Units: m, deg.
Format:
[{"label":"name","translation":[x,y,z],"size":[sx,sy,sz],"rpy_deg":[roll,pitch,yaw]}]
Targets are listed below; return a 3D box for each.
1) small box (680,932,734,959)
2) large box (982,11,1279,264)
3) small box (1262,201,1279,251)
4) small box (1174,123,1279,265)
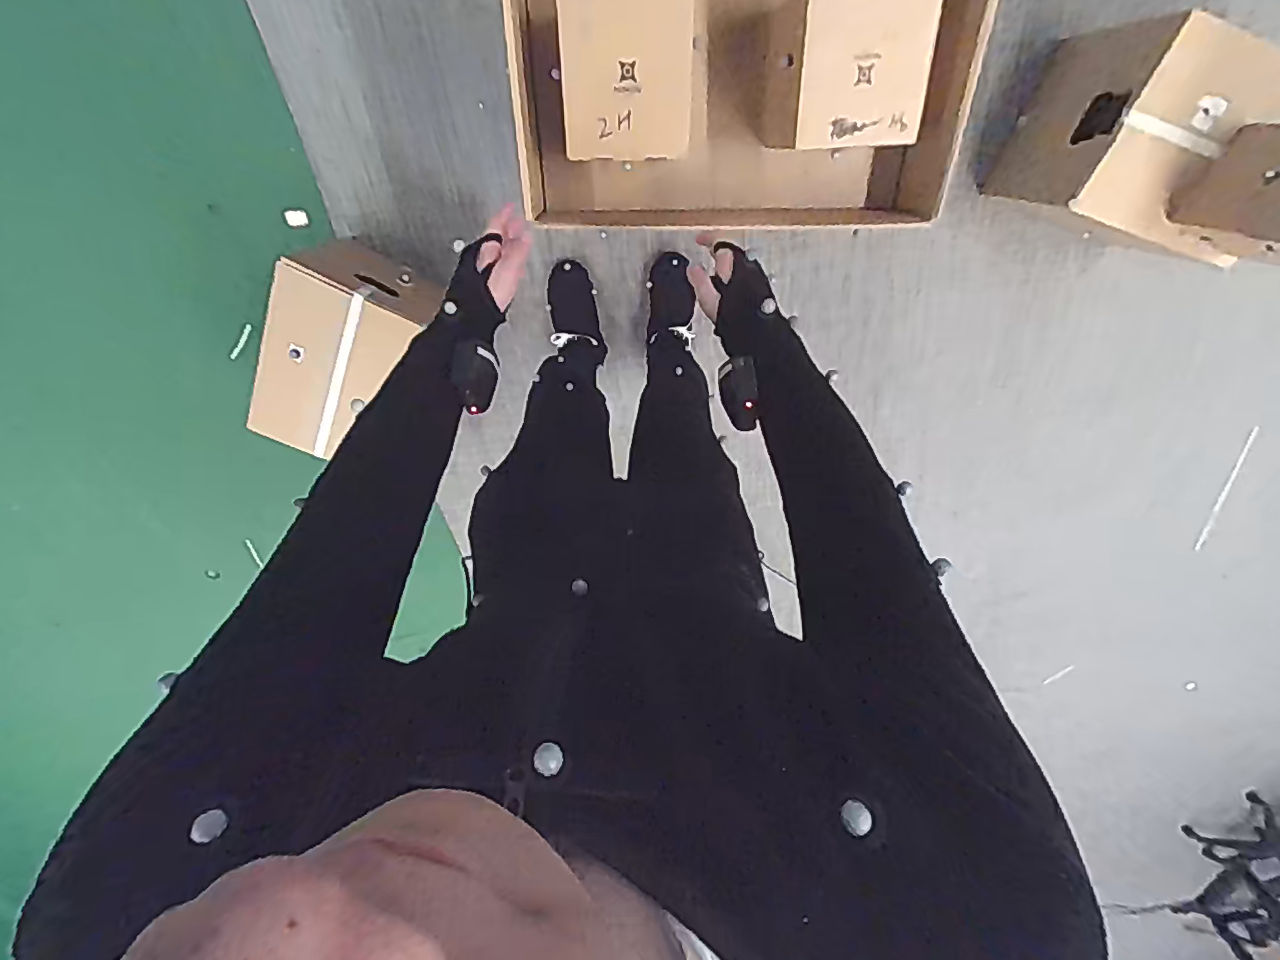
[{"label":"small box","translation":[0.220,1.578,1.726],"size":[0.168,0.176,0.179],"rpy_deg":[-7,123,2]},{"label":"large box","translation":[1.043,-0.684,1.118],"size":[0.408,0.320,0.320],"rpy_deg":[13,120,-10]},{"label":"small box","translation":[1.124,-0.407,0.814],"size":[0.168,0.176,0.179],"rpy_deg":[19,120,-13]},{"label":"small box","translation":[1.125,-0.501,0.948],"size":[0.168,0.176,0.179],"rpy_deg":[19,121,-13]}]
